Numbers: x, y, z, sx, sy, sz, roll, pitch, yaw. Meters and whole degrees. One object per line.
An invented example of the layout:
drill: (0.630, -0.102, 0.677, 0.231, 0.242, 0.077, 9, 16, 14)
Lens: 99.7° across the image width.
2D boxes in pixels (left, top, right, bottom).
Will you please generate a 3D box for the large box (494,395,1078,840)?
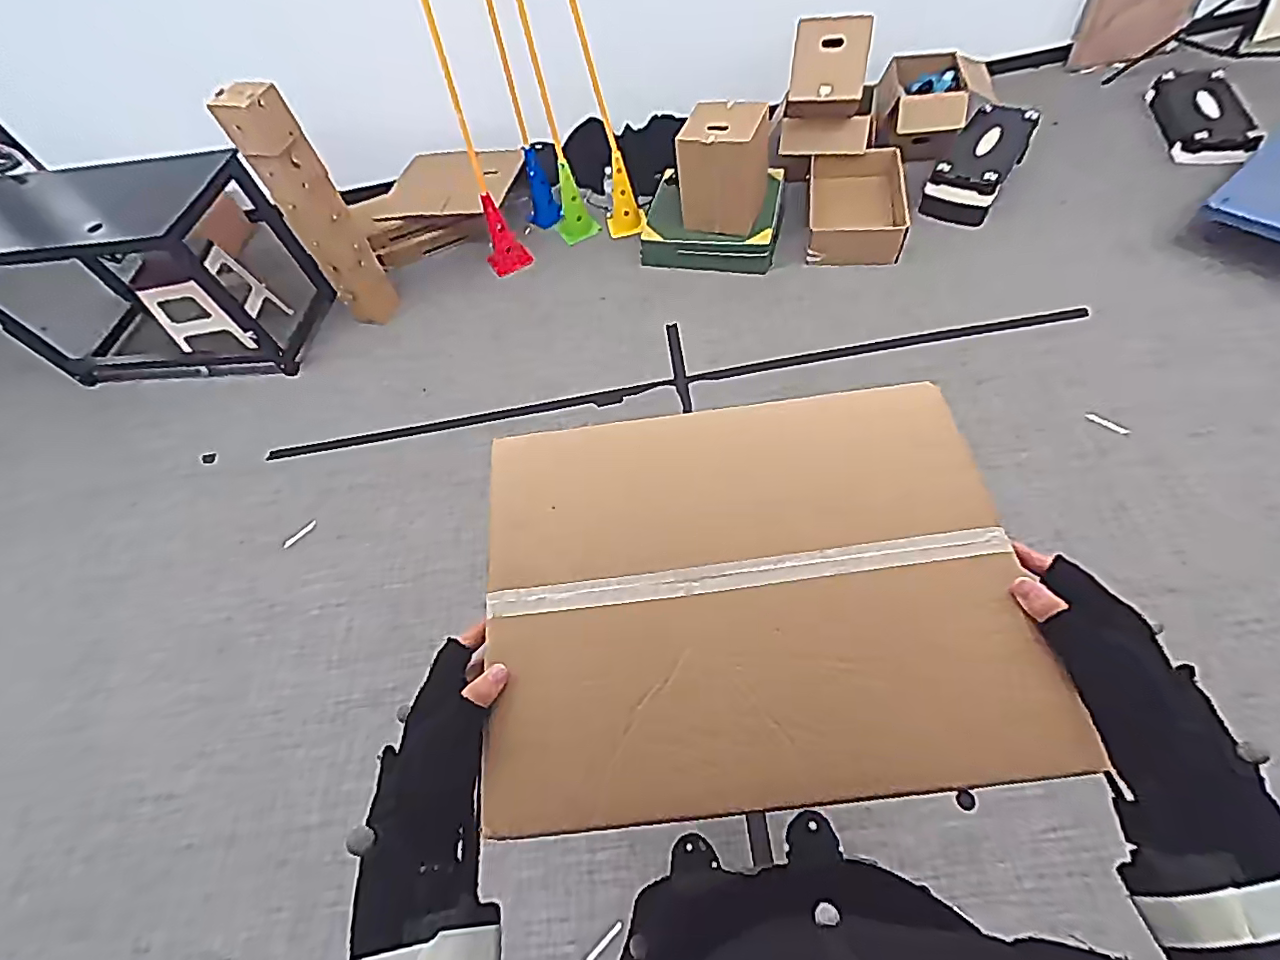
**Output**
large box: (0.095, 0.149, 0.561, 0.408, 0.320, 0.320, -7, 61, 1)

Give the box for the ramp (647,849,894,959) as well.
ramp: (0.314, 1.292, 0.991, 0.509, 0.206, 0.991, -9, 57, 1)
